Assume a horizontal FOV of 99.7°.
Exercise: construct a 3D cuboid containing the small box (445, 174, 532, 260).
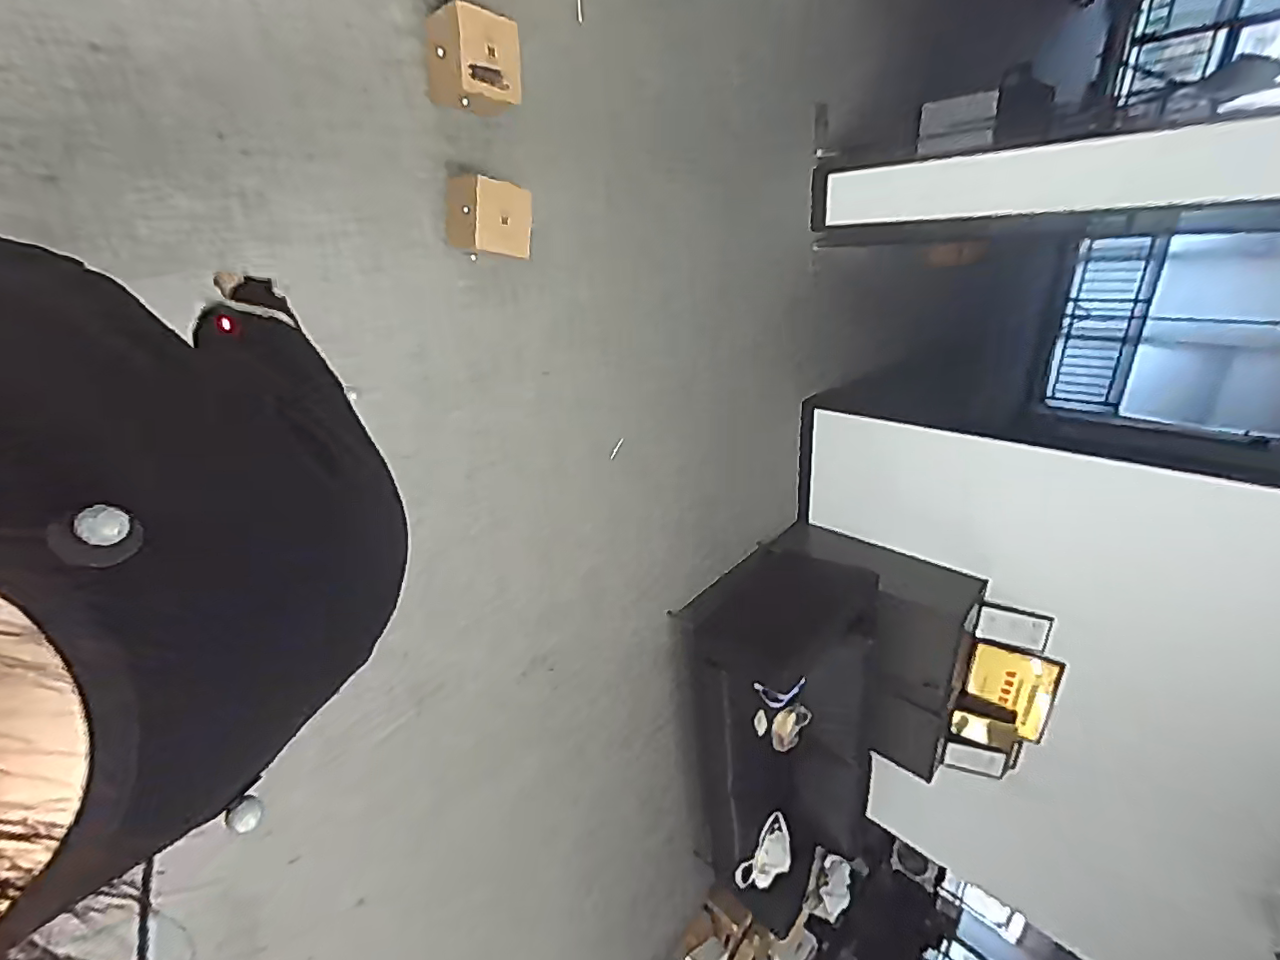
[{"bbox_3d":[-0.415,-0.707,1.471,0.168,0.176,0.179,-8,112,-45],"label":"small box"}]
